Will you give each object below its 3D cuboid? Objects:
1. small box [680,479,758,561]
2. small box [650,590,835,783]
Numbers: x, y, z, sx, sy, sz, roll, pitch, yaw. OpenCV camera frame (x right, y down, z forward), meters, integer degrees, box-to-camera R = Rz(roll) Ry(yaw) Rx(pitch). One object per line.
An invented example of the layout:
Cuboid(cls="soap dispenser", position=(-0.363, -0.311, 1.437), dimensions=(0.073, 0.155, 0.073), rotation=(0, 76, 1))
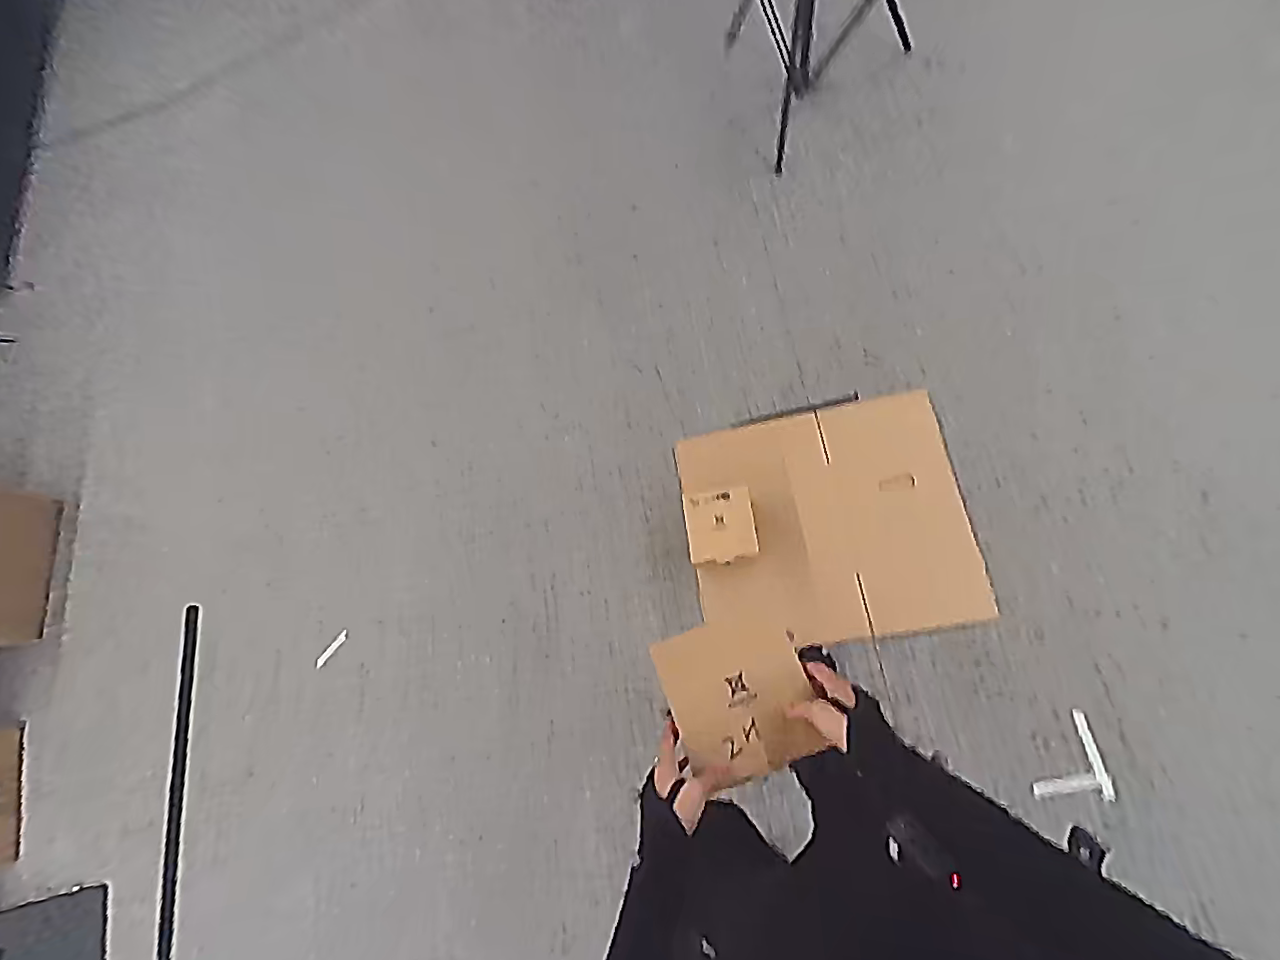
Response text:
Cuboid(cls="small box", position=(0.205, 0.110, 1.374), dimensions=(0.168, 0.176, 0.179), rotation=(-10, 75, 10))
Cuboid(cls="small box", position=(0.120, 0.269, 0.702), dimensions=(0.168, 0.176, 0.179), rotation=(-20, 65, -4))
